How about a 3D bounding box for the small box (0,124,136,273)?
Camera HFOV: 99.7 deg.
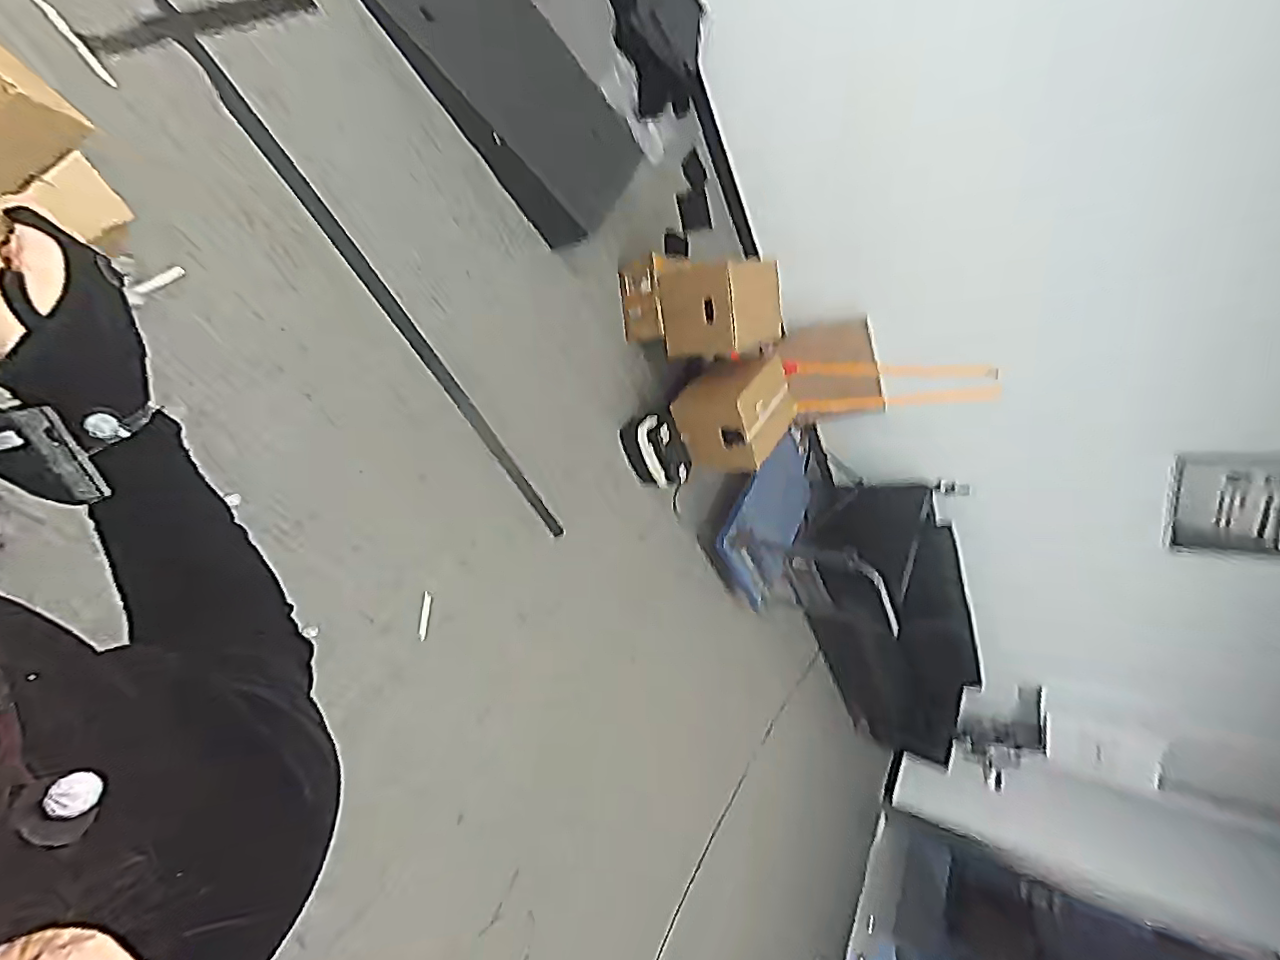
[{"bbox_3d":[-1.048,-0.479,0.944,0.168,0.176,0.179,-52,129,-35],"label":"small box"}]
